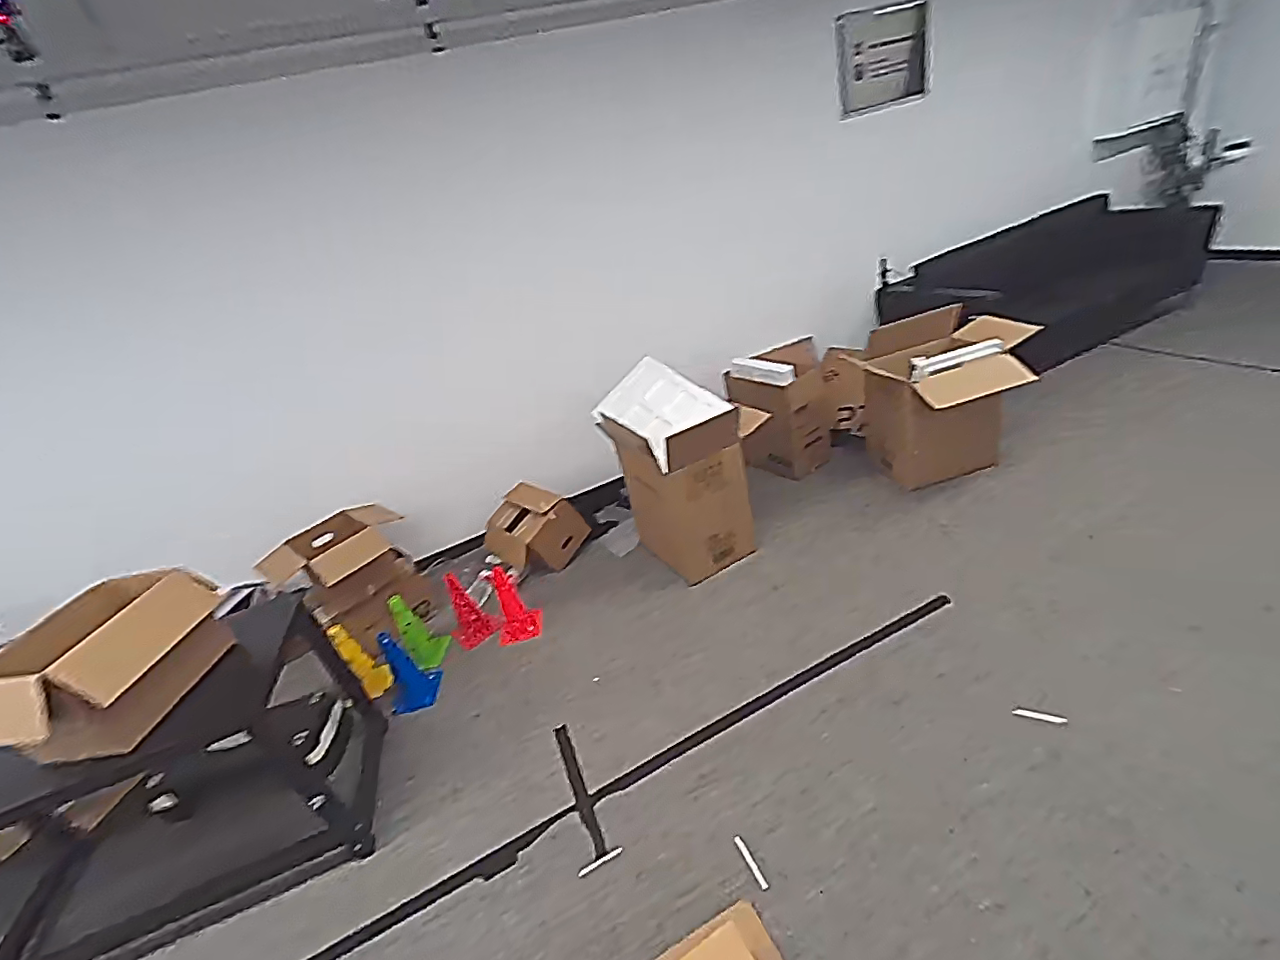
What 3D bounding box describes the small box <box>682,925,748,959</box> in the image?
[{"bbox_3d":[0.192,1.172,1.210,0.168,0.176,0.179,-25,29,-19],"label":"small box"}]
